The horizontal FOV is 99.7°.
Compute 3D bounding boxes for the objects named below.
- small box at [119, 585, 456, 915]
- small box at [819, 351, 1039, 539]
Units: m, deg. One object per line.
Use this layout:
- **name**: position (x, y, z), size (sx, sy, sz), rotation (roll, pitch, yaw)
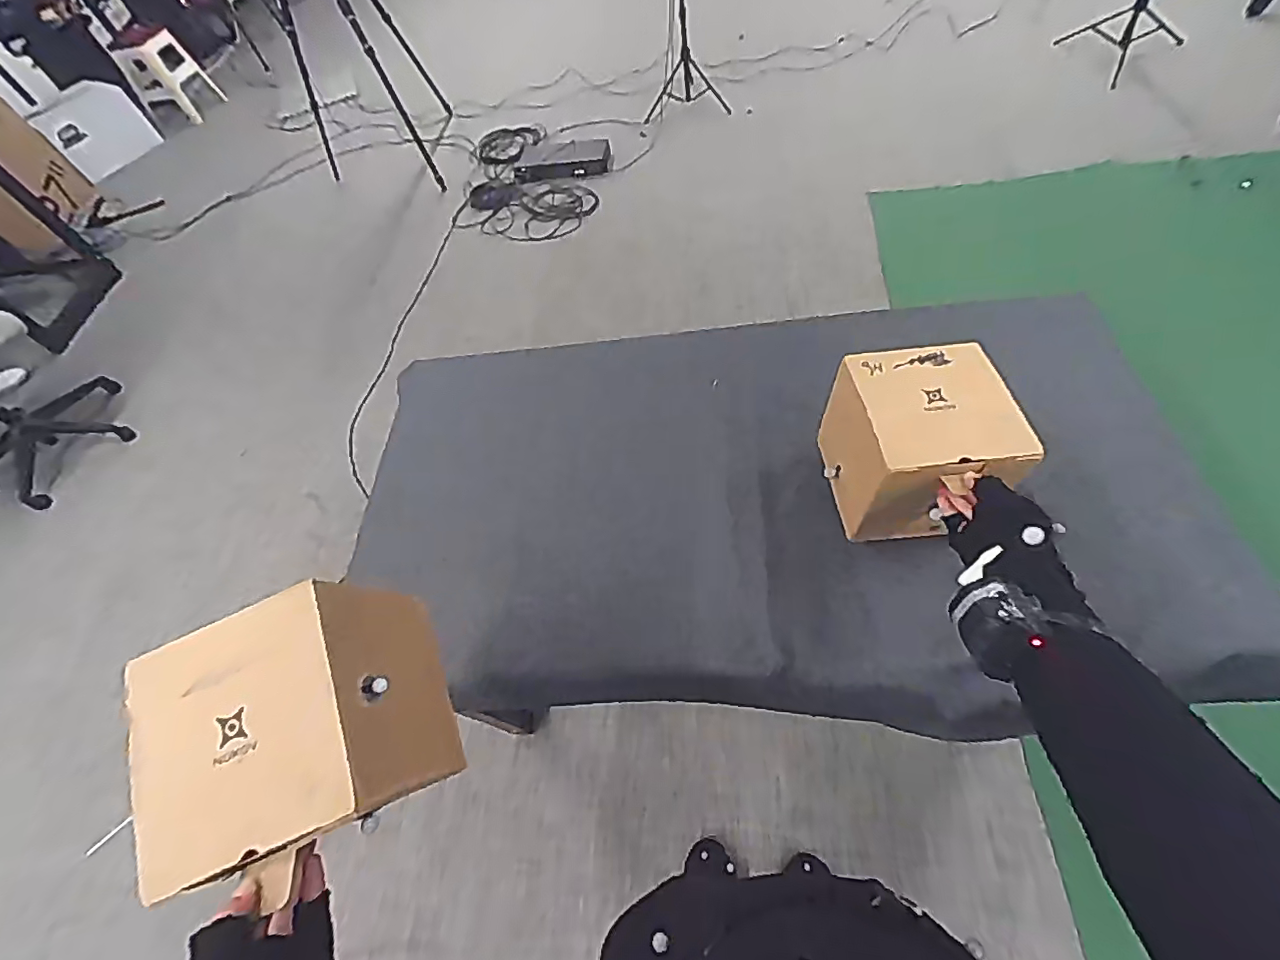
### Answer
- **small box**: position (-0.283, 0.210, 0.463), size (0.168, 0.176, 0.179), rotation (-25, 69, 0)
- **small box**: position (0.340, -0.035, 0.680), size (0.168, 0.176, 0.179), rotation (-4, 57, 1)
